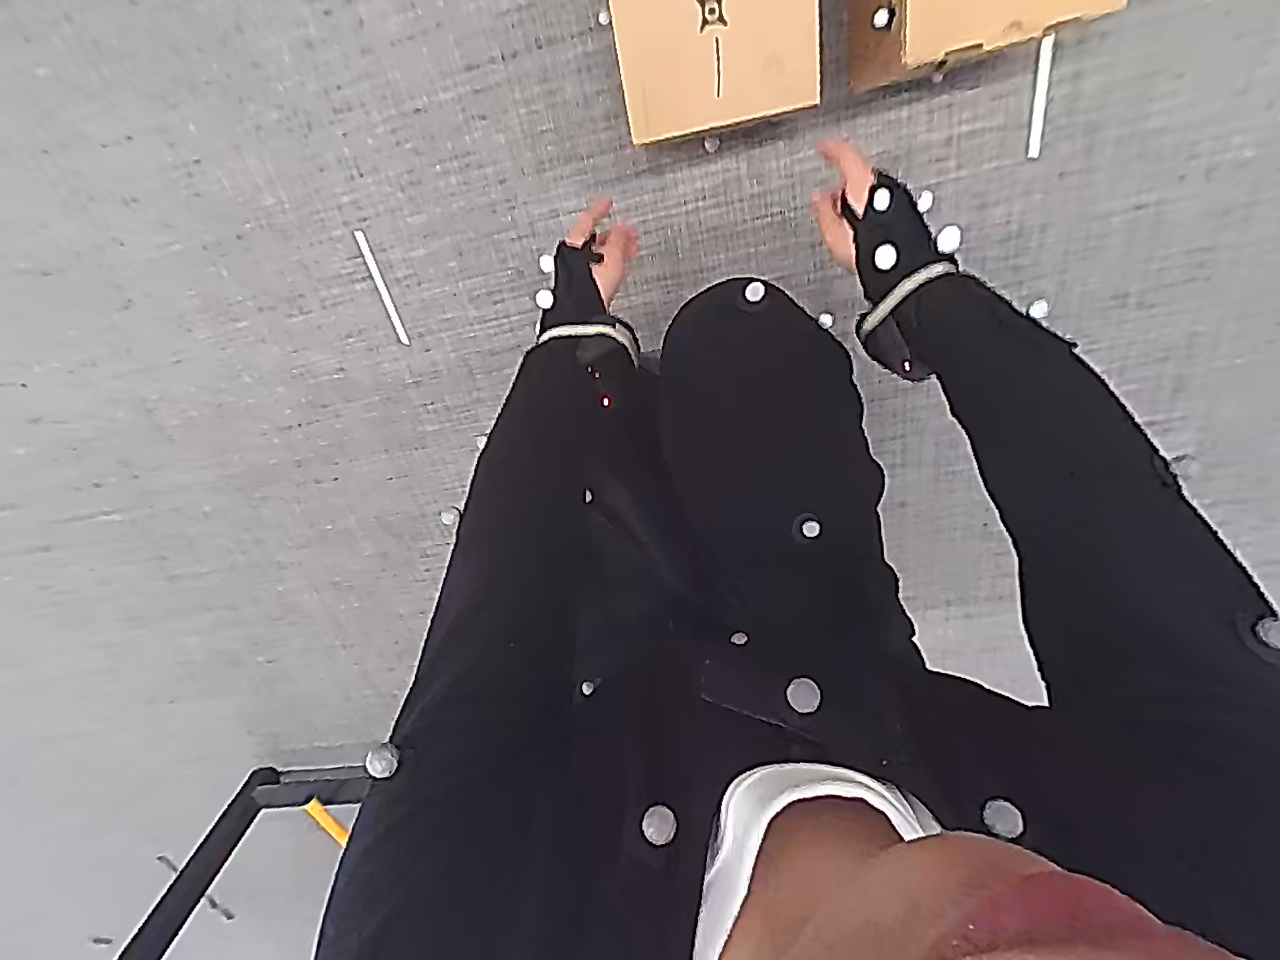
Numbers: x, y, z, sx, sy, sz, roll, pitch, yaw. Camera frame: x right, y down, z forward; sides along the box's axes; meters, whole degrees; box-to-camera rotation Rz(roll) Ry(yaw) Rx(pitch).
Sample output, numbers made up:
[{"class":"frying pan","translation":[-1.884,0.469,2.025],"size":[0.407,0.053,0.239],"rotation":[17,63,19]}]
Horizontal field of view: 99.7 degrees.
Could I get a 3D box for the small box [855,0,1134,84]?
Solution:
[{"class":"small box","translation":[0.286,-0.465,0.452],"size":[0.168,0.176,0.179],"rotation":[-9,119,9]}]
